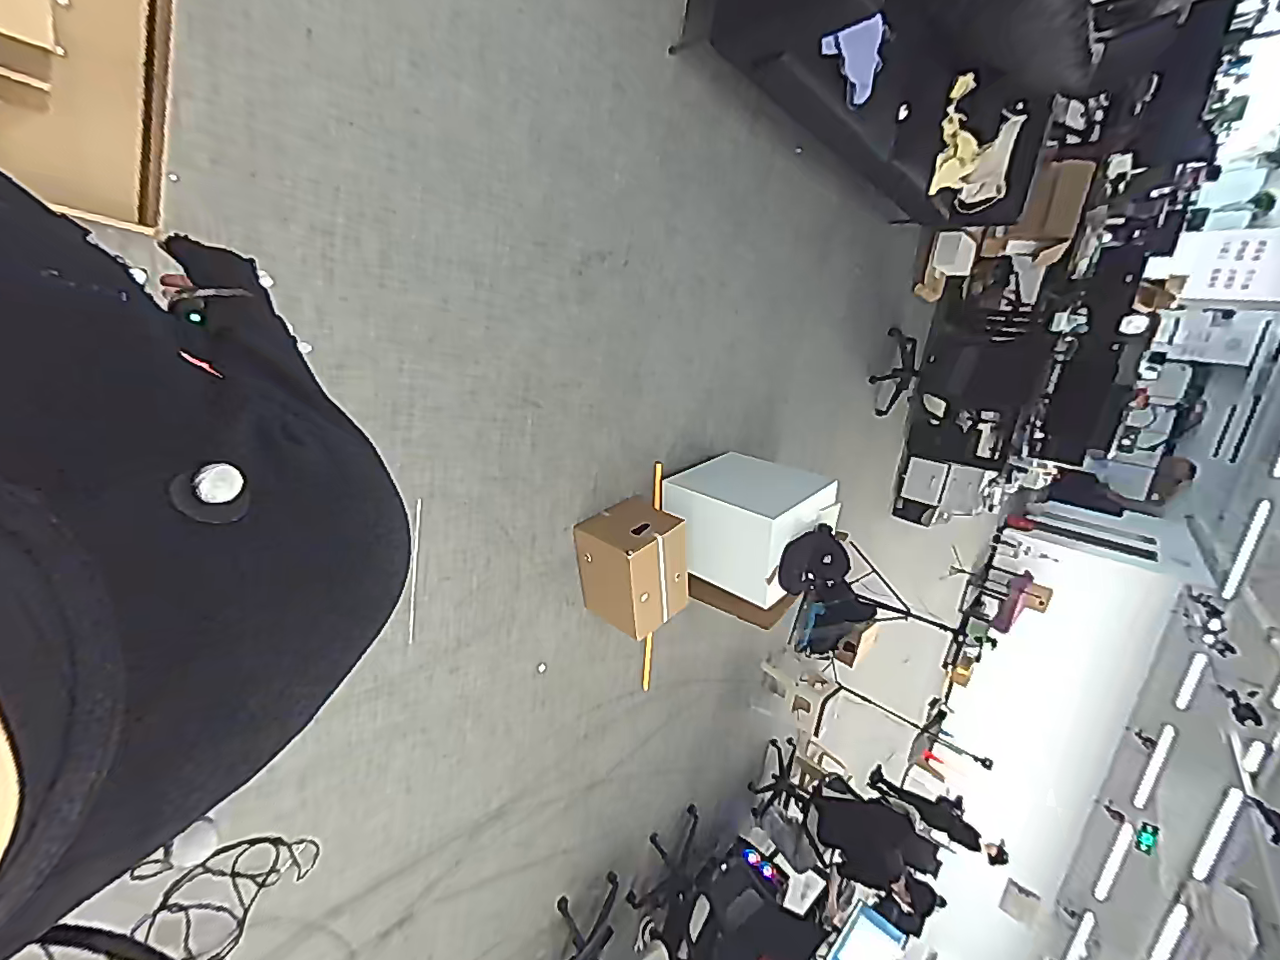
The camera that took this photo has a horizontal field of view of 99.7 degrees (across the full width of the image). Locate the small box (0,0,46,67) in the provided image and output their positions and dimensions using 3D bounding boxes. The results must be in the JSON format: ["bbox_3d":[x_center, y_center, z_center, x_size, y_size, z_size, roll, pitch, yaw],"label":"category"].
[{"bbox_3d":[-0.843,-0.645,0.651,0.168,0.176,0.179,-6,108,-48],"label":"small box"}]

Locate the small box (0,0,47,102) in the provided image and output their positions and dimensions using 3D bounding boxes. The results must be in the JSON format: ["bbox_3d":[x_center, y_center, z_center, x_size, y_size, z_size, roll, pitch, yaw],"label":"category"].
[{"bbox_3d":[-0.962,-0.677,0.761,0.168,0.176,0.179,-2,106,-49],"label":"small box"}]
